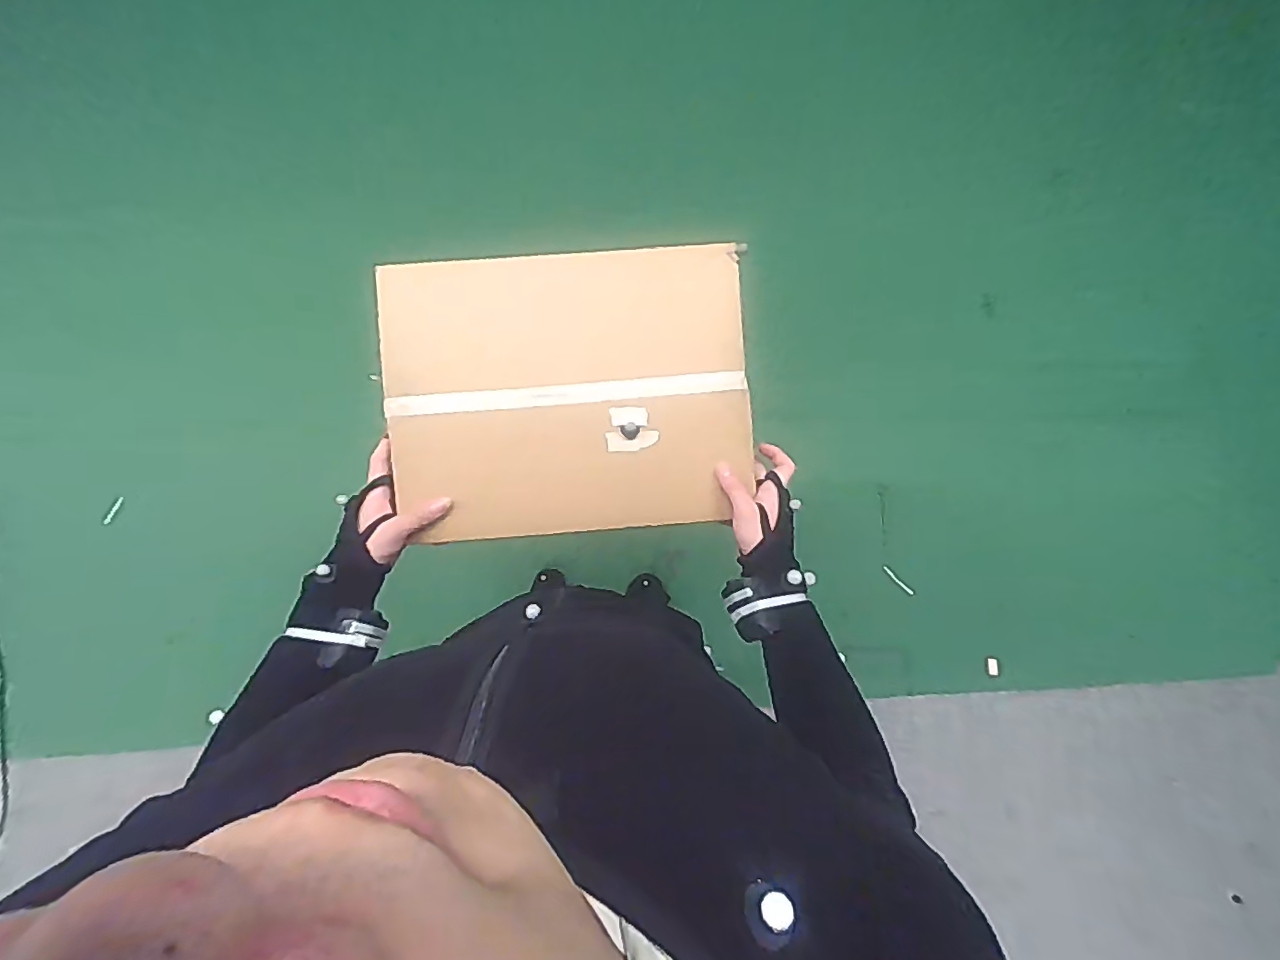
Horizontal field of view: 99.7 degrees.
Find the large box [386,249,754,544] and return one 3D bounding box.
[{"bbox_3d":[-0.085,-0.097,0.766,0.408,0.320,0.320,-5,91,-2],"label":"large box"}]

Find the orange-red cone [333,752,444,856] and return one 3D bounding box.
[{"bbox_3d":[-0.652,0.830,1.335,0.199,0.360,0.198,5,77,0],"label":"orange-red cone"}]
